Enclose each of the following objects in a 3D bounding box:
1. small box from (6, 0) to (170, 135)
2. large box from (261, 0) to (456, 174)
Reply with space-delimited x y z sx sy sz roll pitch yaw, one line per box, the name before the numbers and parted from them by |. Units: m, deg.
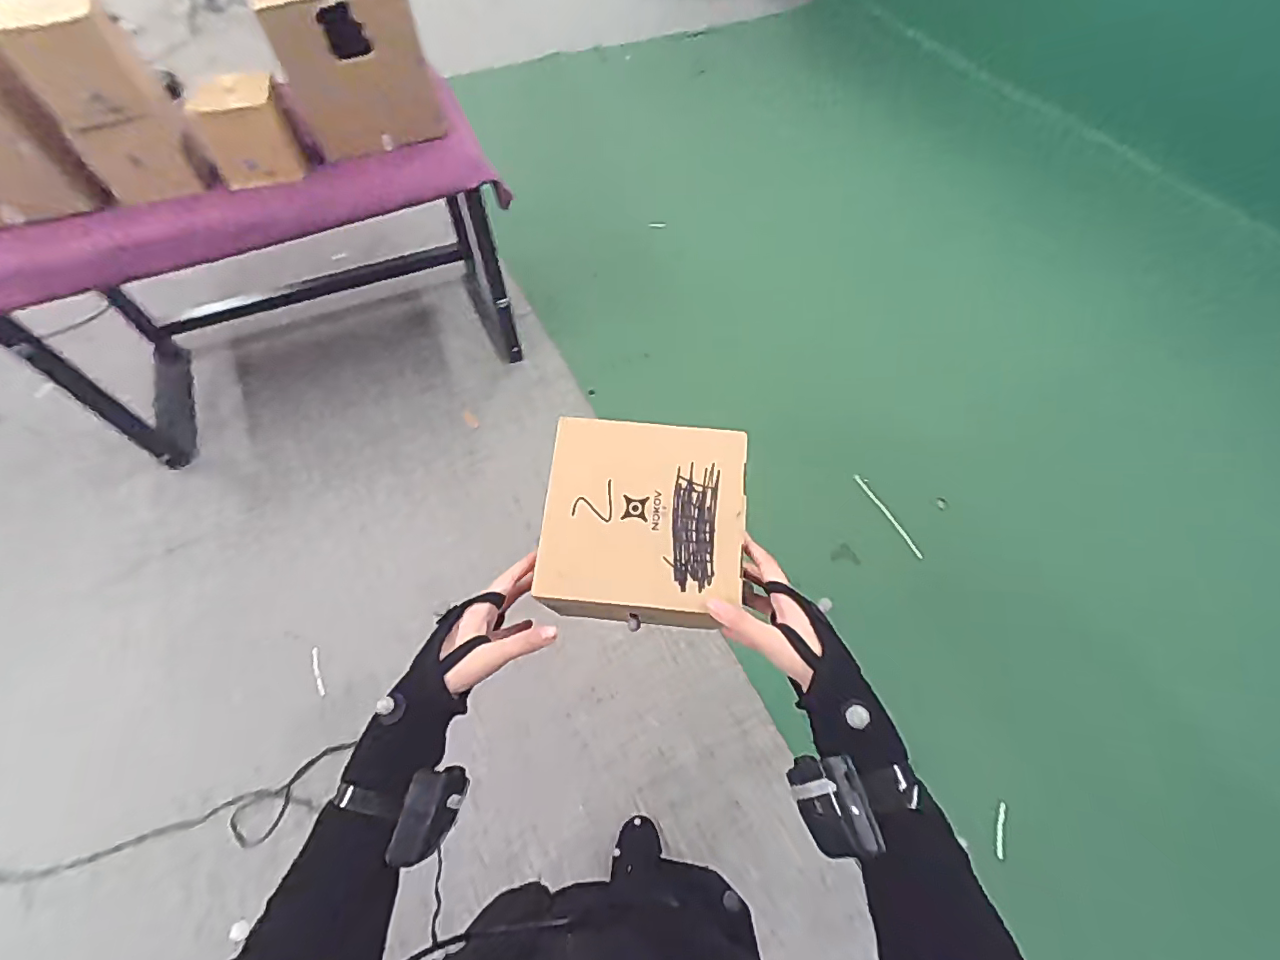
small box | -1.111 -0.845 1.108 0.168 0.176 0.179 -21 61 -13
large box | -0.703 -1.054 1.360 0.320 0.320 0.408 -23 62 -12
